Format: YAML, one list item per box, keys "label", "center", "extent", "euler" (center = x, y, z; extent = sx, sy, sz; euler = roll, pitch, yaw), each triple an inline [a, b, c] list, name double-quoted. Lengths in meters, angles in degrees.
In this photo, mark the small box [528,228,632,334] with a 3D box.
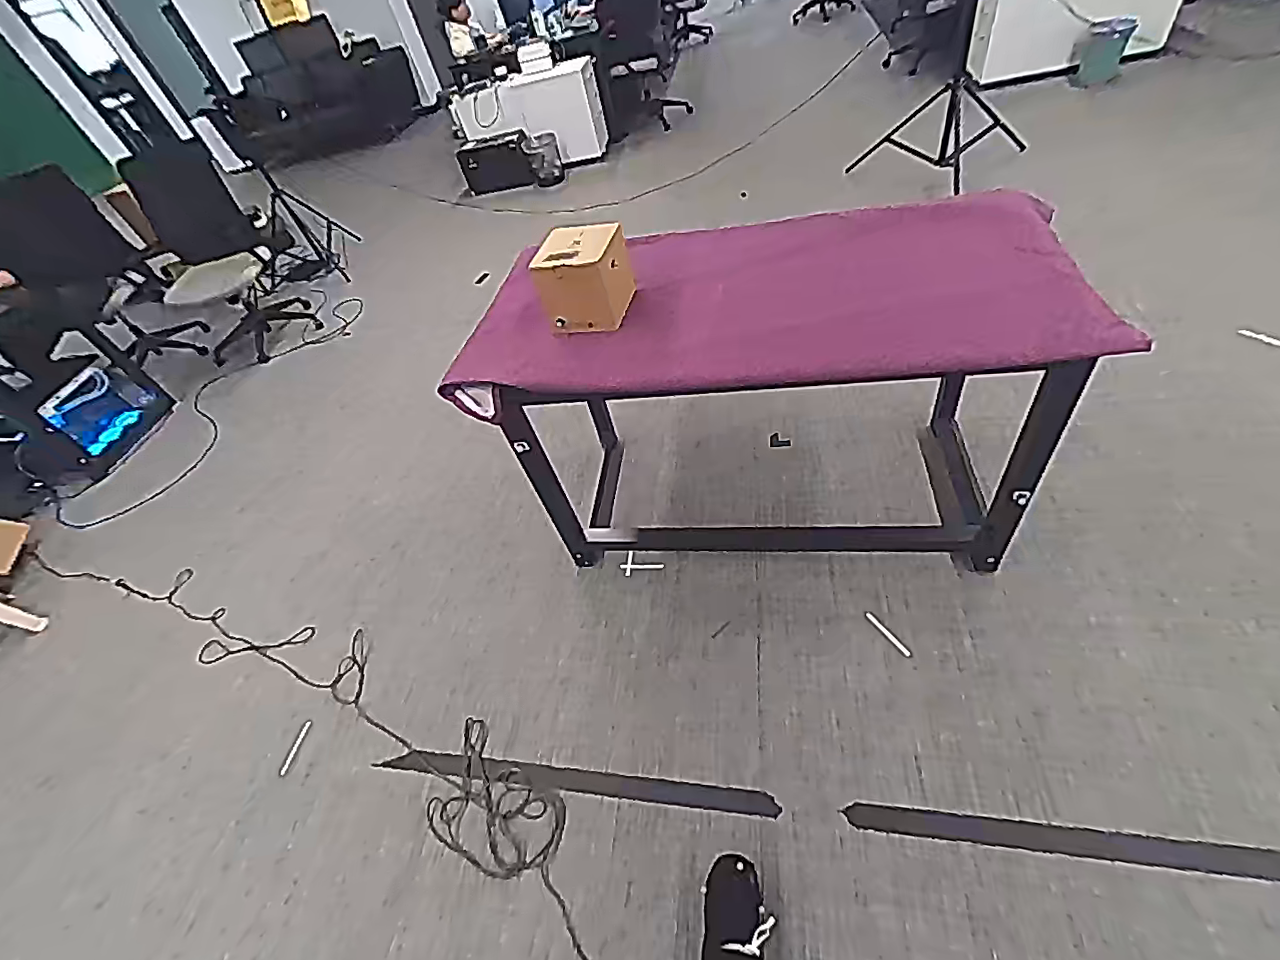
- label: "small box"
  center: [-0.127, -0.449, 1.240]
  extent: [0.168, 0.176, 0.179]
  euler: [3, 50, 18]
